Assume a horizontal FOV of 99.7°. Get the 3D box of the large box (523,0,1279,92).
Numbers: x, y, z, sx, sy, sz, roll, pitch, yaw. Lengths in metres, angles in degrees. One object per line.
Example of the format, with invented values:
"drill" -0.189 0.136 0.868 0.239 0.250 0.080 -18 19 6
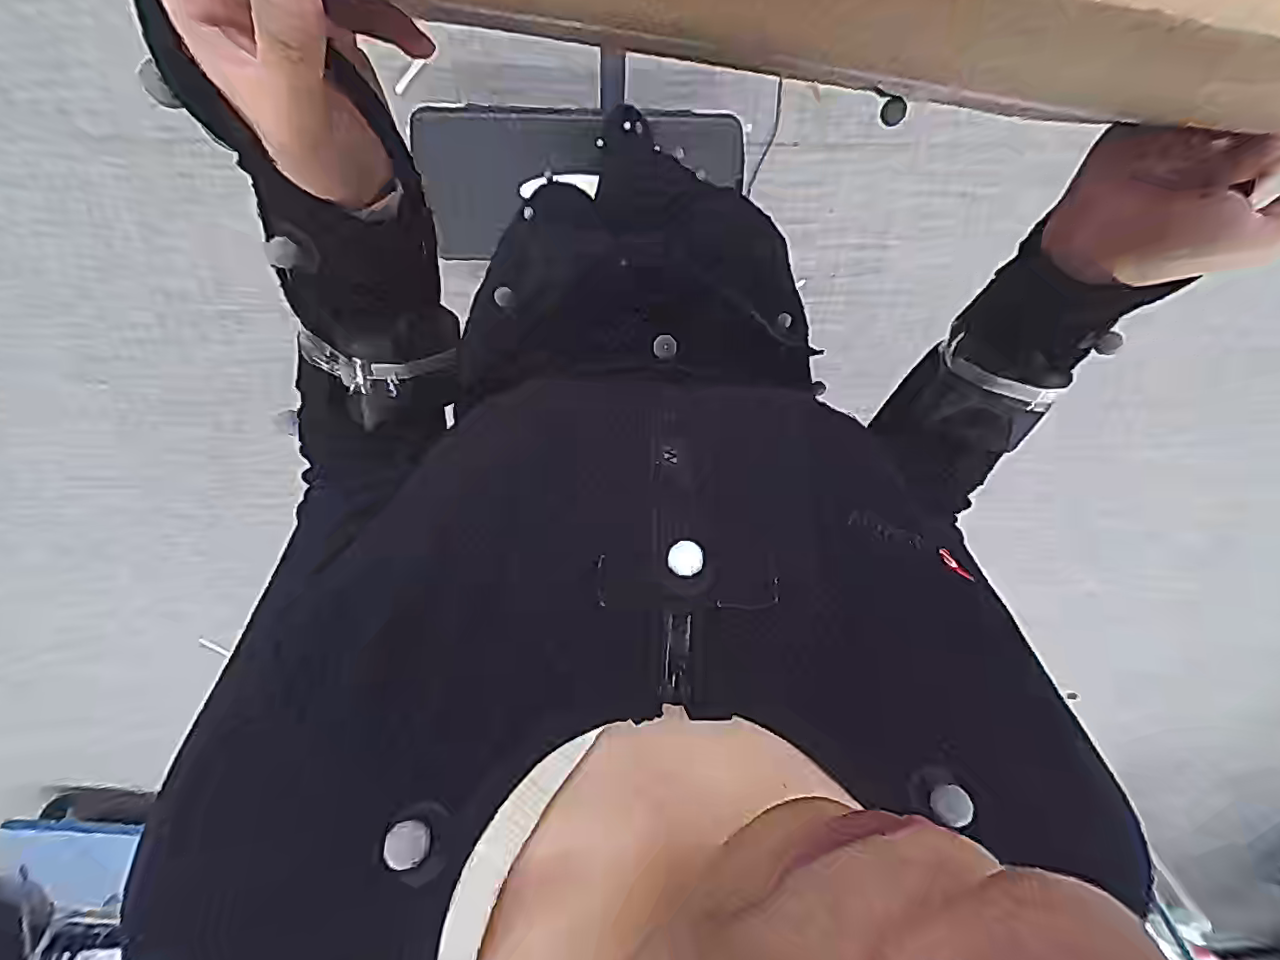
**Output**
"large box" 0.088 -0.306 0.120 0.408 0.320 0.320 1 127 -9
